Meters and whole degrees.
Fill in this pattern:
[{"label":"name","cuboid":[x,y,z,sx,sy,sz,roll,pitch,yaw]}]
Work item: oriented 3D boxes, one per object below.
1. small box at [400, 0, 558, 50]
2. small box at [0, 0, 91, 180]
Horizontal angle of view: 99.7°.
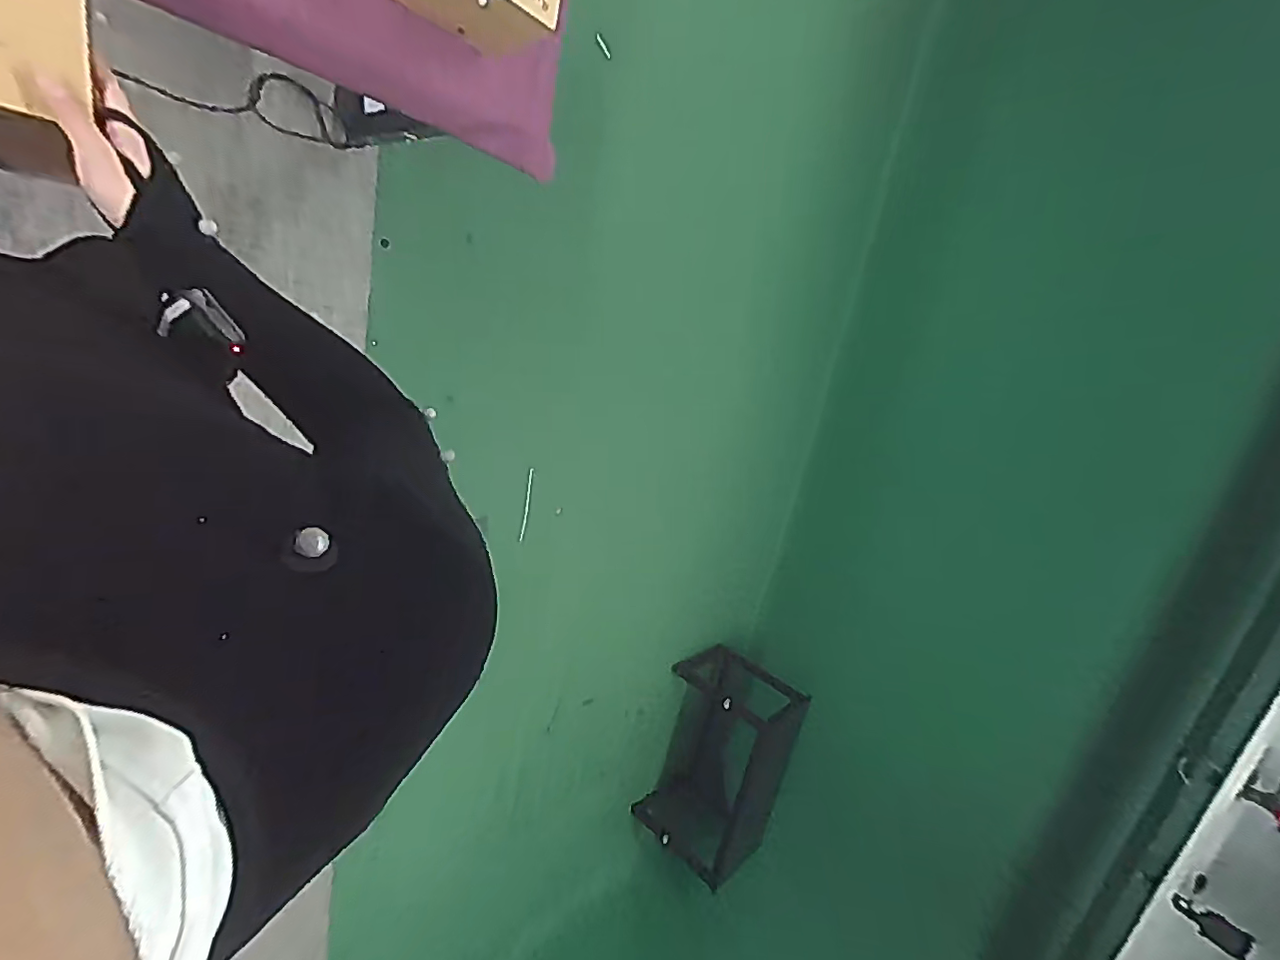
[{"label":"small box","cuboid":[-0.216,-0.716,0.708,0.168,0.176,0.179,-5,111,-48]},{"label":"small box","cuboid":[-0.555,-0.373,0.424,0.168,0.176,0.179,-3,98,-47]}]
